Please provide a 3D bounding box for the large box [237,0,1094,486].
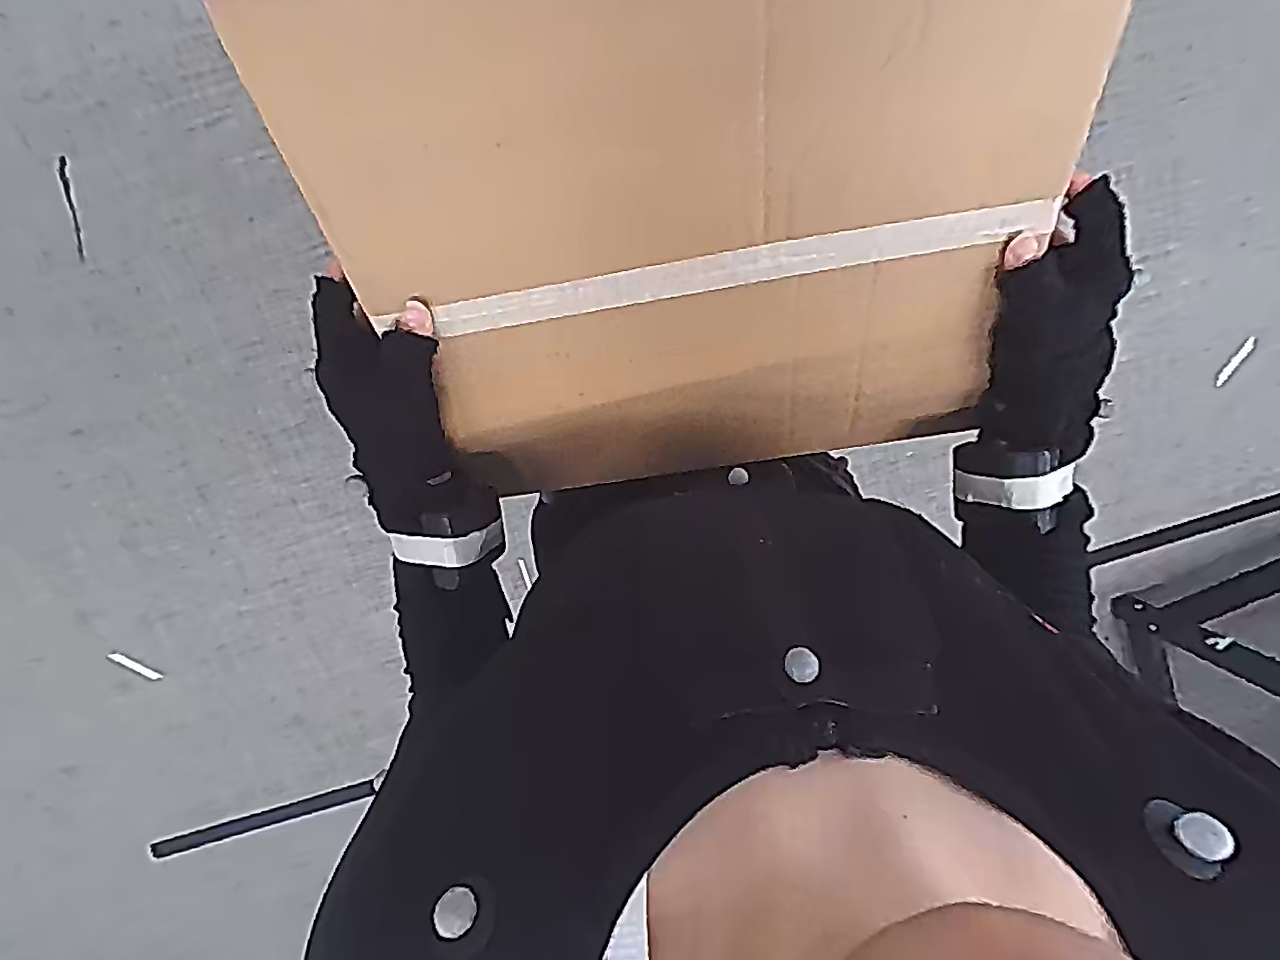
[{"bbox_3d":[0.023,-0.234,0.439,0.408,0.320,0.320,-8,134,4],"label":"large box"}]
